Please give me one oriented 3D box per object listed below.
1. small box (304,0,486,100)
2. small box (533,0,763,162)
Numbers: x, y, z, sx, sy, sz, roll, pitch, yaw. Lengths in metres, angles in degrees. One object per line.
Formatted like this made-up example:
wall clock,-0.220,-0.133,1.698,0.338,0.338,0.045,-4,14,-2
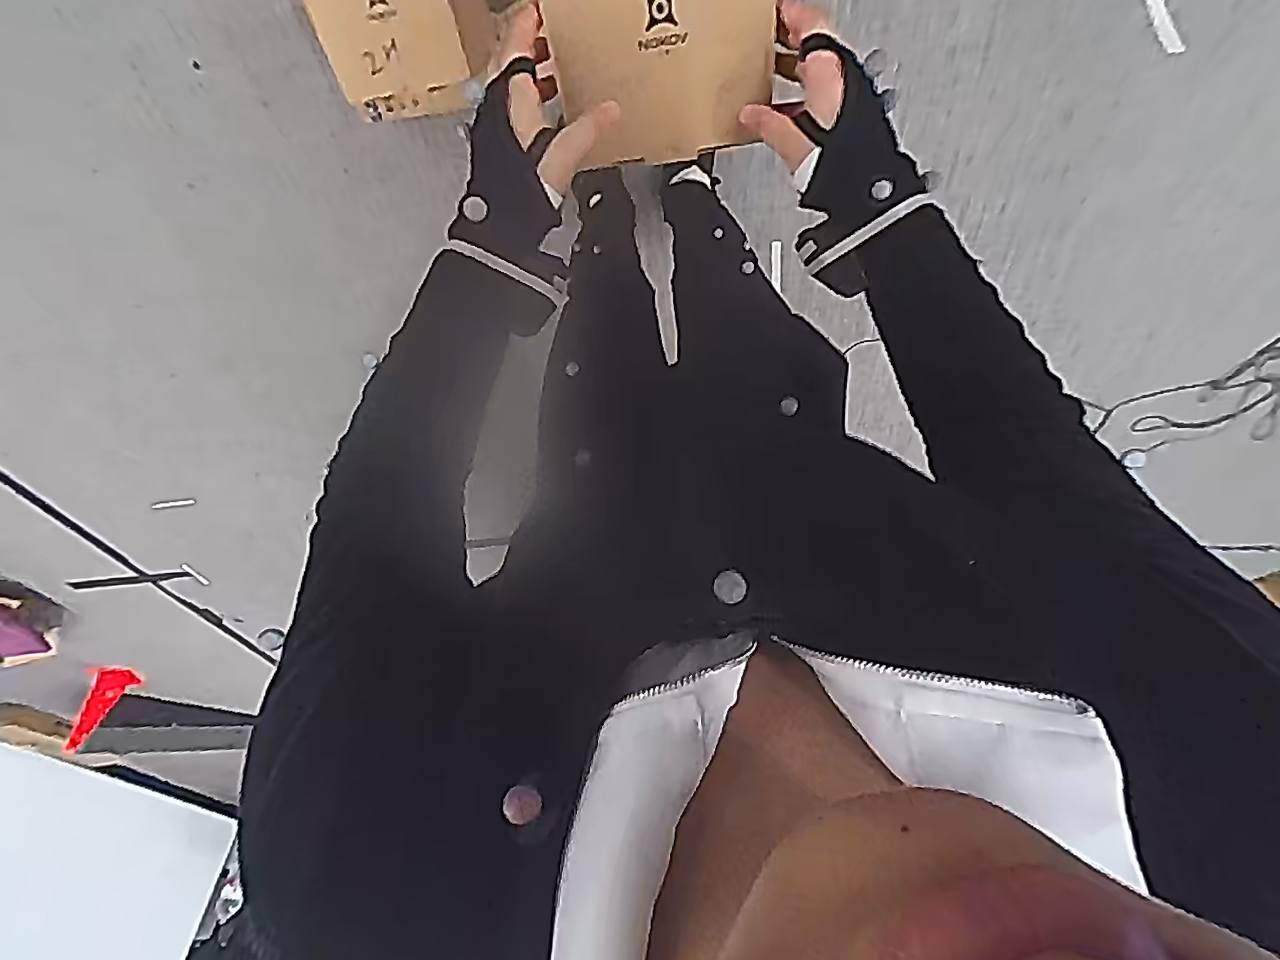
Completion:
small box,-0.307,-0.608,0.677,0.168,0.176,0.179,-7,136,4
small box,0.006,-0.397,0.443,0.168,0.176,0.179,-6,141,5
